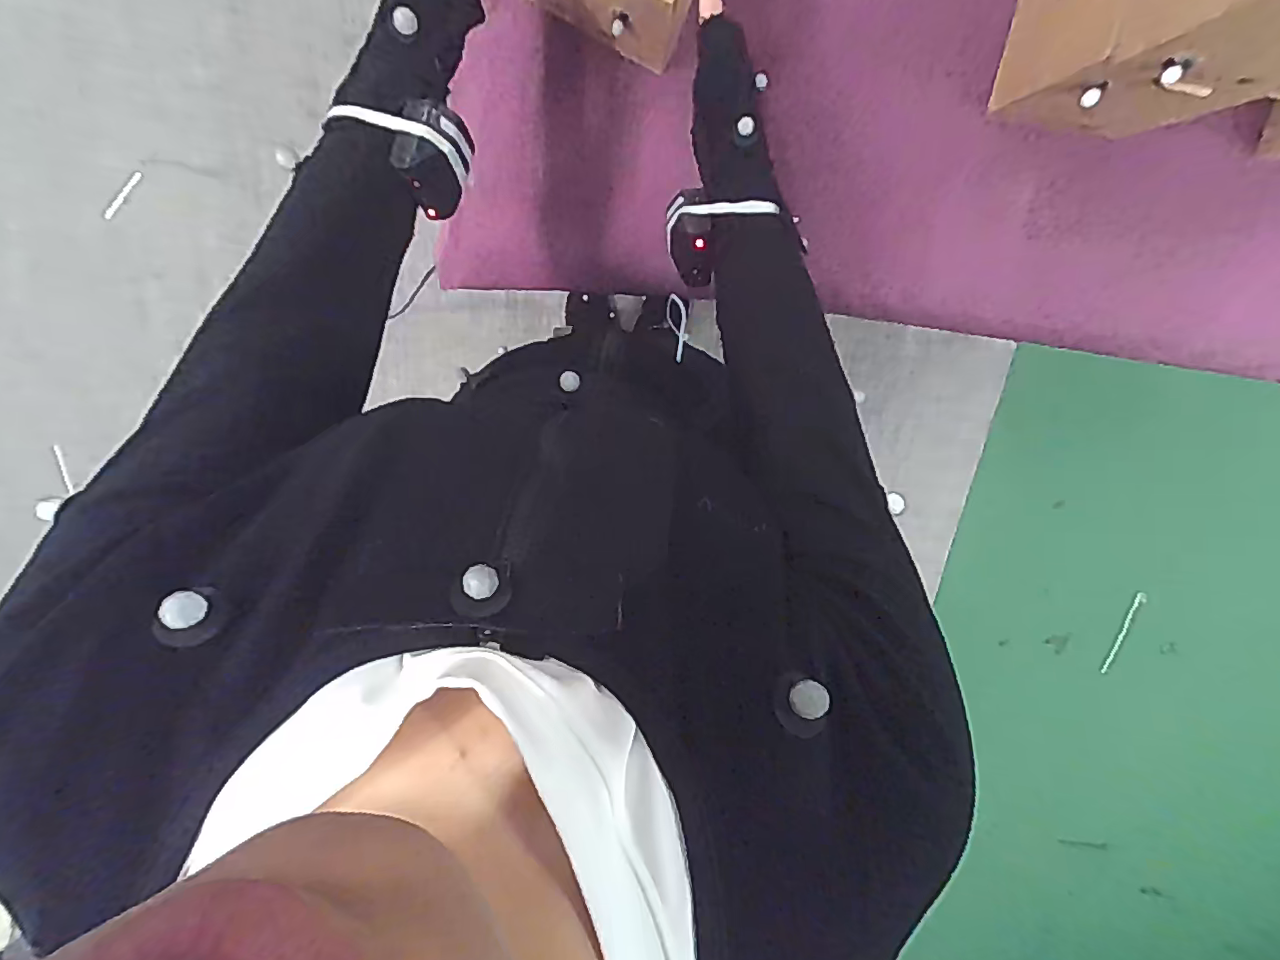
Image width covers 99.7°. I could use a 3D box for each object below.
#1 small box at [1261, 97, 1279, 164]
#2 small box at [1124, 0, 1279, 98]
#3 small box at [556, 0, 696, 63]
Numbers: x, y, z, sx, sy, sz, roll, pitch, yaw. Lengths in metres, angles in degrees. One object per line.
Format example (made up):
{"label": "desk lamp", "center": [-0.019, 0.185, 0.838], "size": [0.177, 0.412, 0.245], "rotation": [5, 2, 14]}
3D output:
{"label": "small box", "center": [0.803, -0.423, 0.533], "size": [0.168, 0.176, 0.179], "rotation": [3, 111, -2]}
{"label": "small box", "center": [0.488, -0.387, 0.359], "size": [0.168, 0.176, 0.179], "rotation": [5, 108, -4]}
{"label": "small box", "center": [-0.006, -0.506, 0.455], "size": [0.168, 0.176, 0.179], "rotation": [24, 107, -11]}
